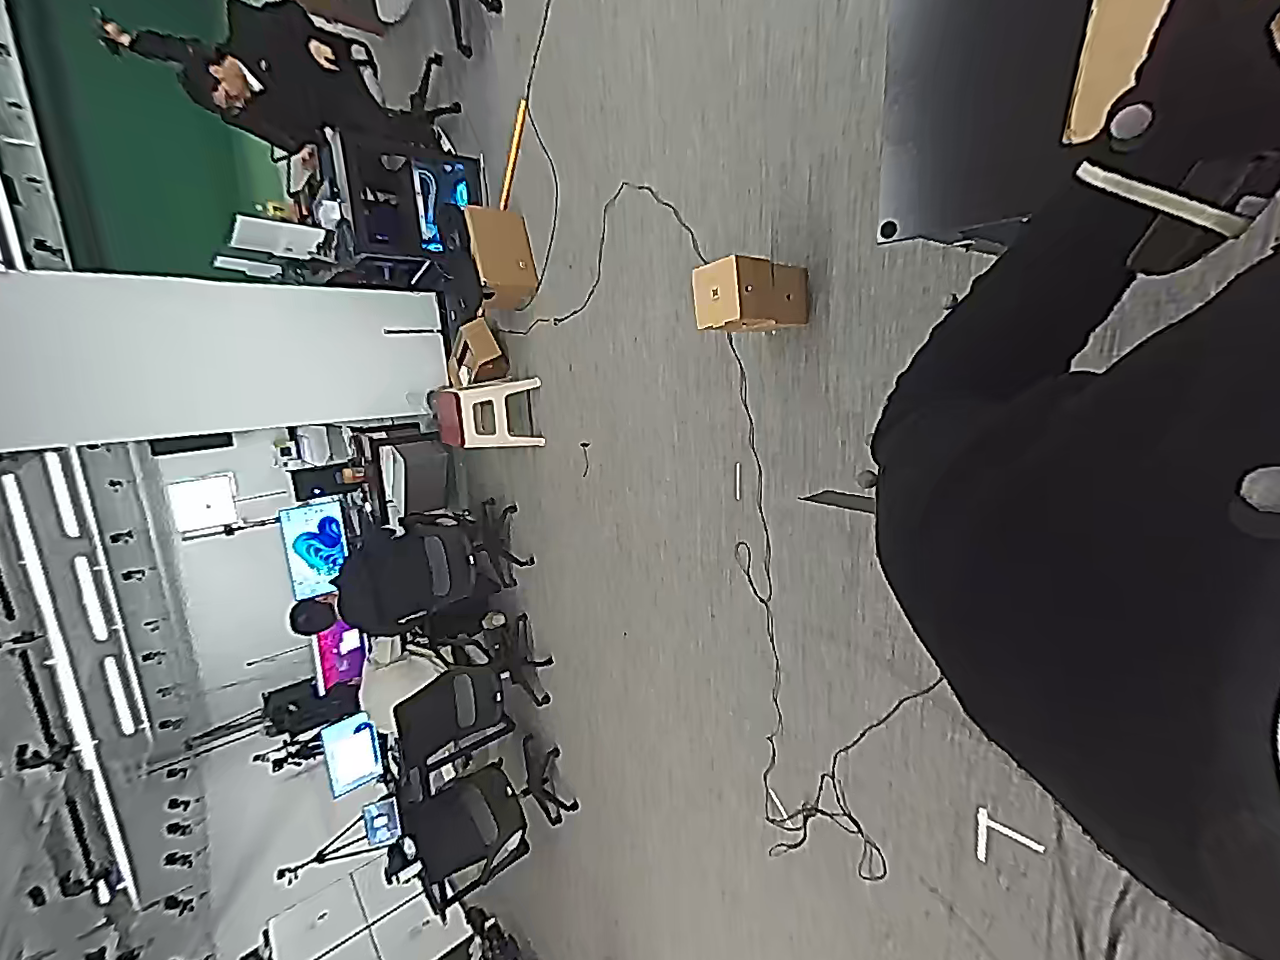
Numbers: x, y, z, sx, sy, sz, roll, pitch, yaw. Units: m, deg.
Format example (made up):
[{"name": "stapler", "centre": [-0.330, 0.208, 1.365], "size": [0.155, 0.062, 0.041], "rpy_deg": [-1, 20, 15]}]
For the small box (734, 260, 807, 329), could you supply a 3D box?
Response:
[{"name": "small box", "centre": [0.405, -0.569, 1.683], "size": [0.168, 0.176, 0.179], "rpy_deg": [7, 106, 50]}]

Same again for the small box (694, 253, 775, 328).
[{"name": "small box", "centre": [0.280, -0.548, 1.581], "size": [0.168, 0.176, 0.179], "rpy_deg": [3, 101, 50]}]
